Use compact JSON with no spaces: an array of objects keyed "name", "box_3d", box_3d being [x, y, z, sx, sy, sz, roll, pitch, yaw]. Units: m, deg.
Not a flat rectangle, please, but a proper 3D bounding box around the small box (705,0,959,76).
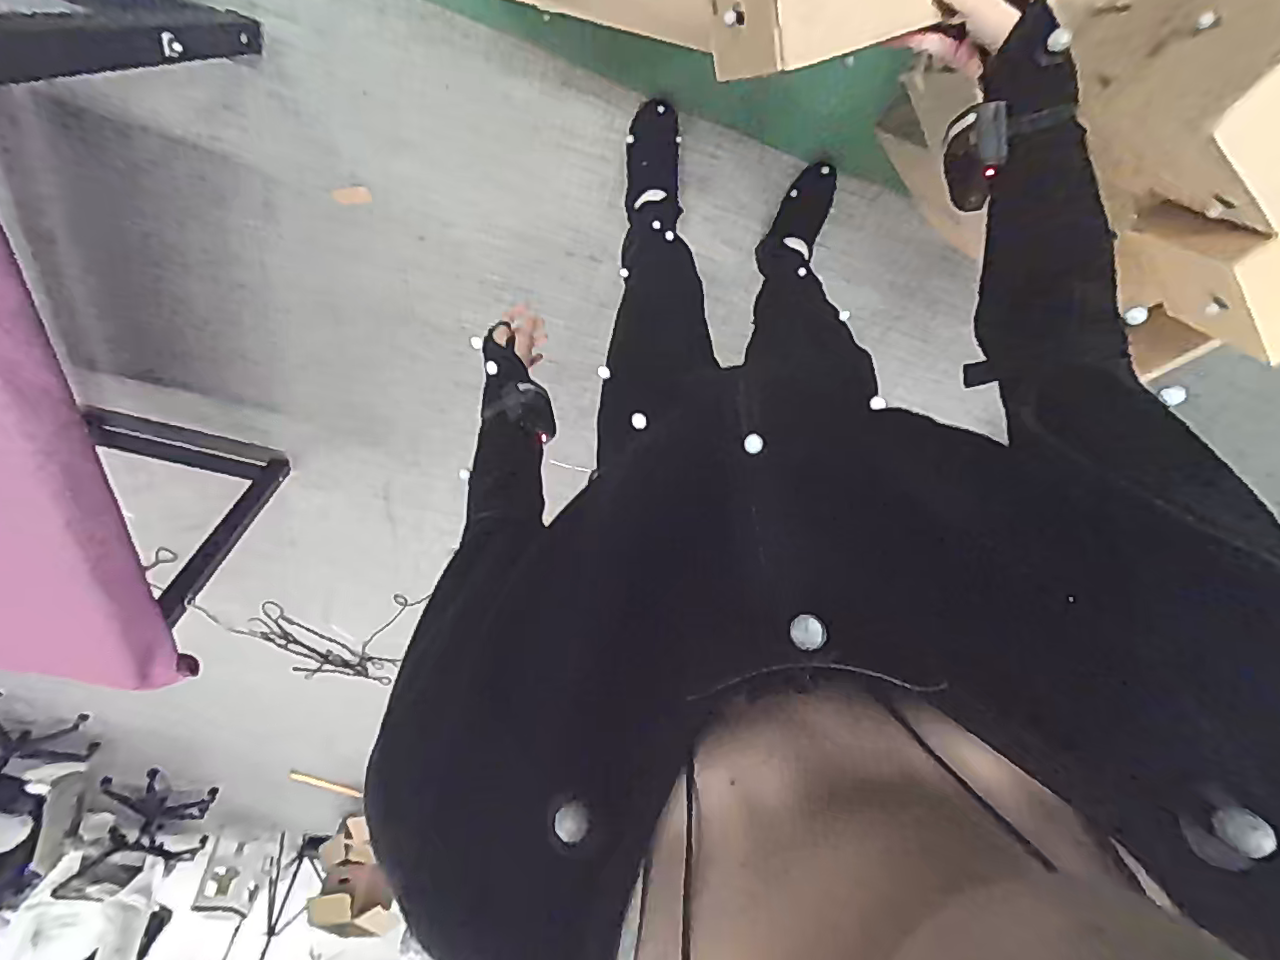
[{"name":"small box","box_3d":[0.153,-0.480,0.475,0.179,0.176,0.168,-18,125,-1]}]
